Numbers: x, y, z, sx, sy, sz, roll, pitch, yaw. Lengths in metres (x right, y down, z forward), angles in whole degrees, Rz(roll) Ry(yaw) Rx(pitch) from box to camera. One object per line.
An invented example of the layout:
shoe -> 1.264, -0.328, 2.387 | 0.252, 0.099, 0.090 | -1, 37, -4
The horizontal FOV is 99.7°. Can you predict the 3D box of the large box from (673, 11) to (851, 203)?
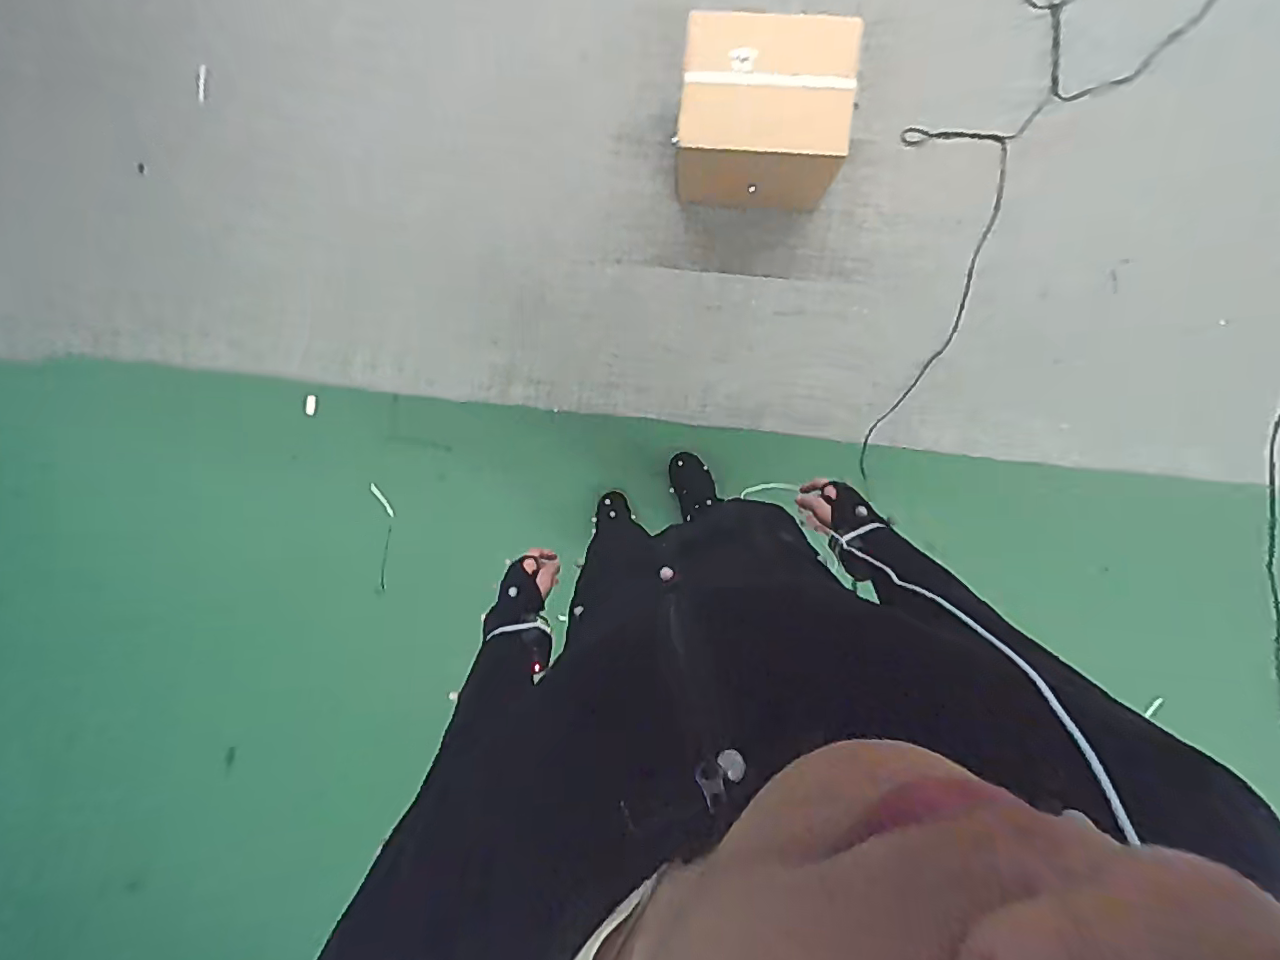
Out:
large box -> 0.301, -0.953, 1.425 | 0.408, 0.320, 0.320 | 4, 93, 5
